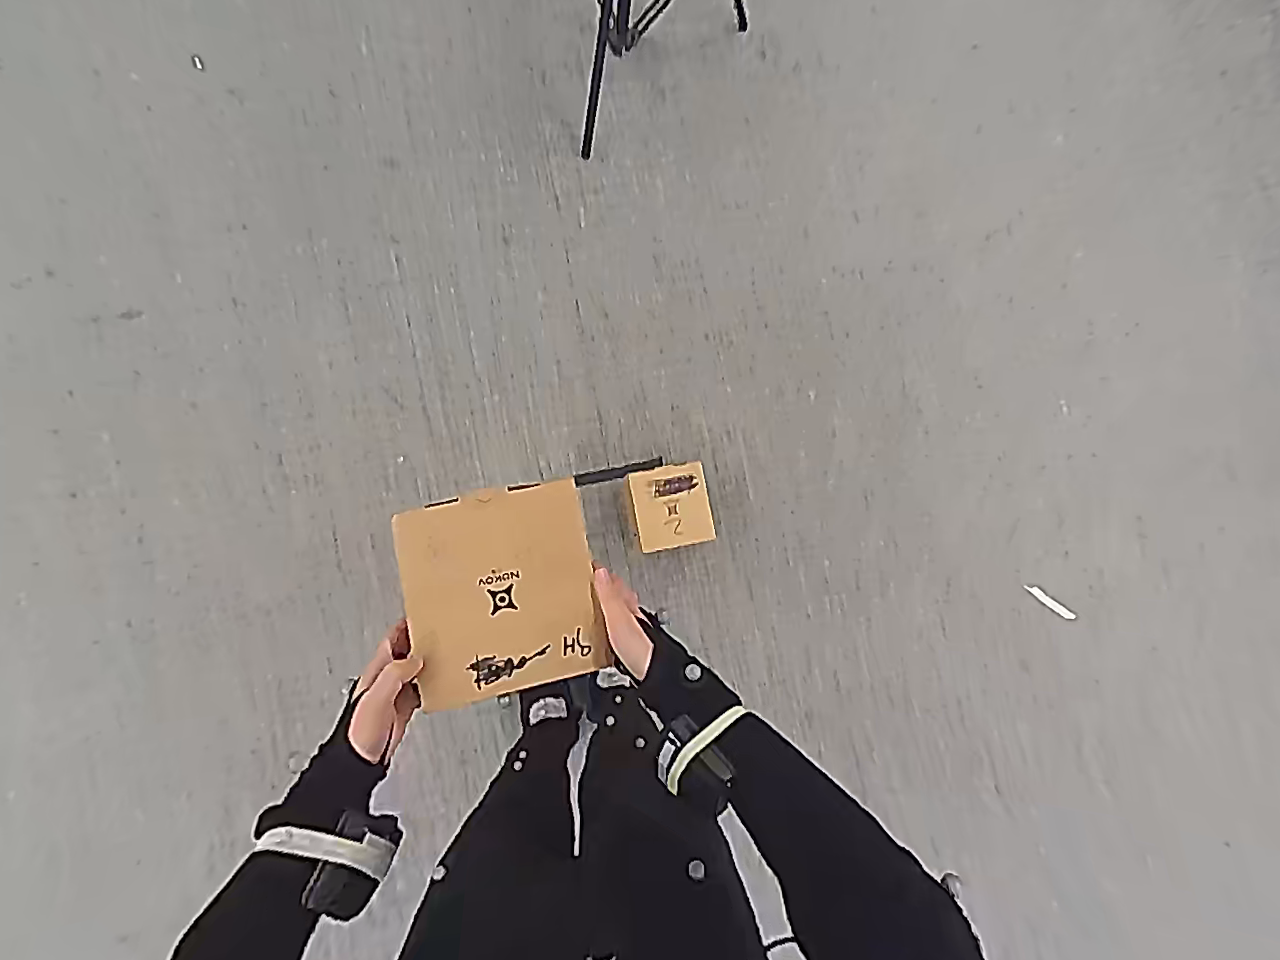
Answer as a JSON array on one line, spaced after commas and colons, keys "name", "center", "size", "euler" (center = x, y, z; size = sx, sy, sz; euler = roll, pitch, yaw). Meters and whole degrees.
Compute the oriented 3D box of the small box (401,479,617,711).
[{"name": "small box", "center": [-0.126, 0.112, 0.555], "size": [0.168, 0.176, 0.179], "euler": [-12, 81, -9]}]
